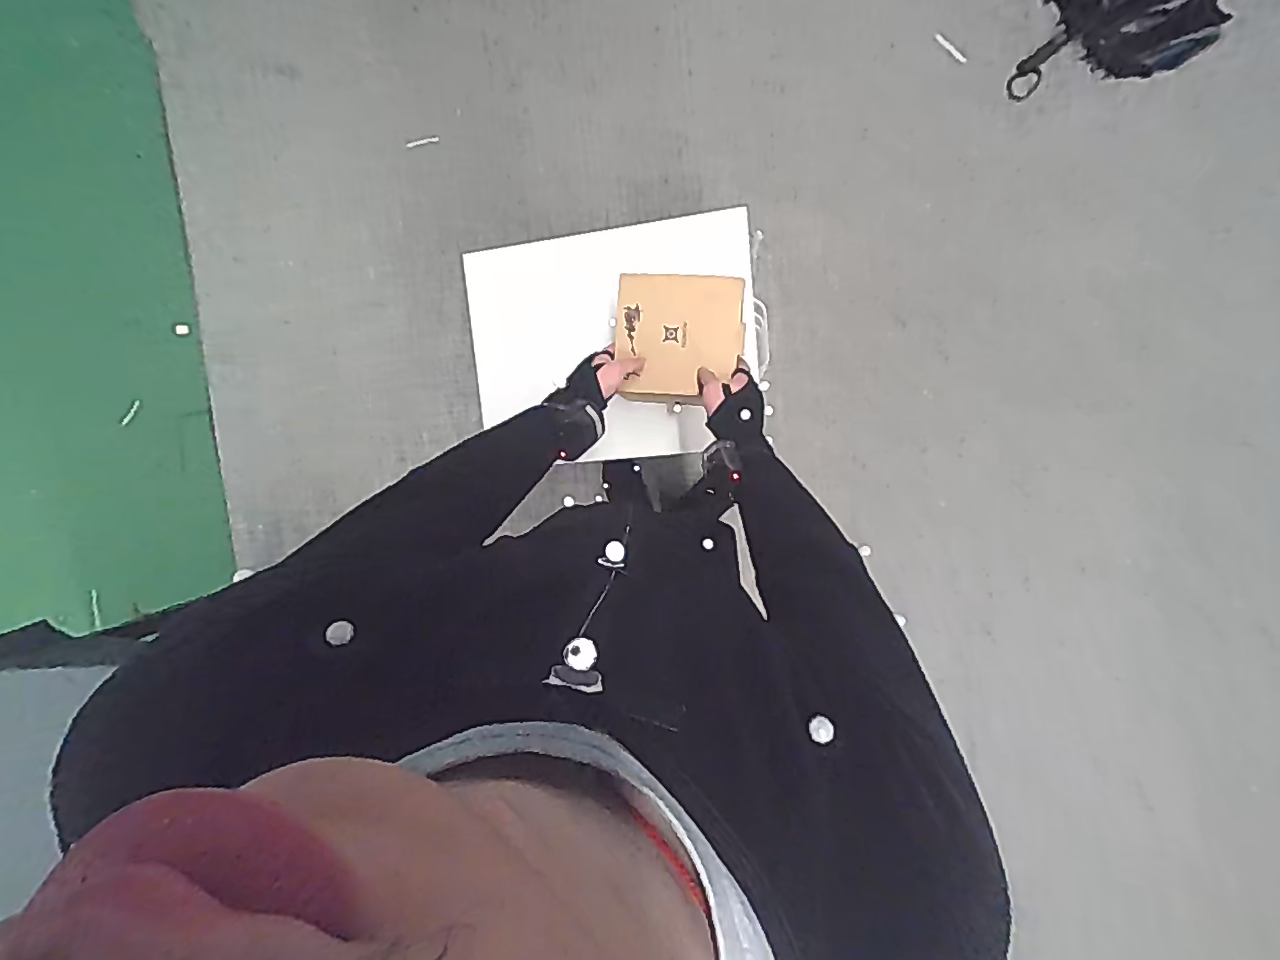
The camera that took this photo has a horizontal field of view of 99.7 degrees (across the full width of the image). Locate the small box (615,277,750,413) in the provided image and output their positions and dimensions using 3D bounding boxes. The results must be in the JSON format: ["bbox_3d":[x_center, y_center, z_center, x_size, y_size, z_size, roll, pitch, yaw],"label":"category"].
[{"bbox_3d":[0.060,-0.191,0.808,0.179,0.176,0.168,3,93,4],"label":"small box"}]
